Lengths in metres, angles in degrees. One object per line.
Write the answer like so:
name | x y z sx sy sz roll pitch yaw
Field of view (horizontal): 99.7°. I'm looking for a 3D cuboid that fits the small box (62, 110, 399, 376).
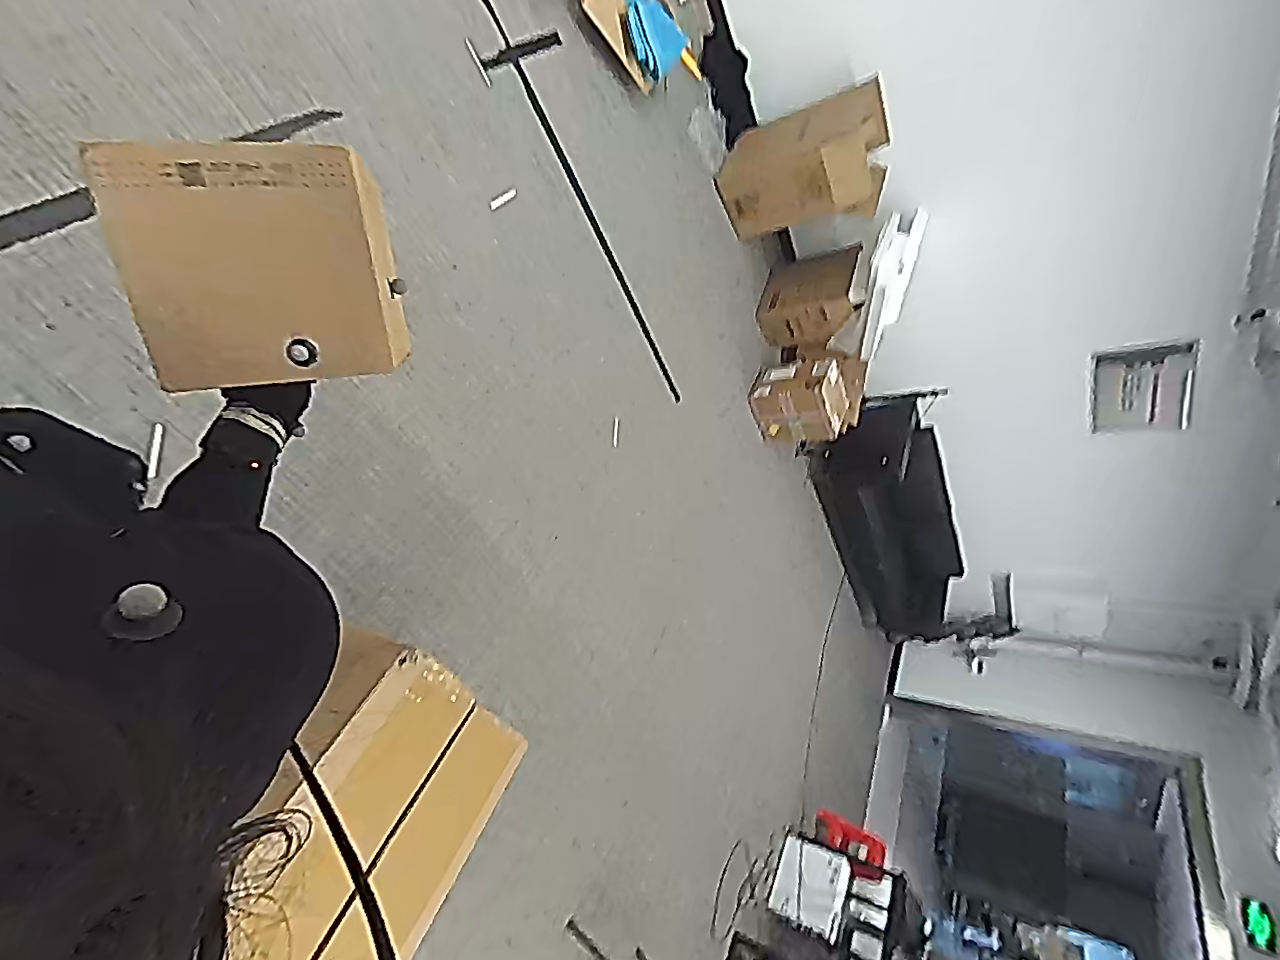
small box | -0.314 -0.193 0.463 0.168 0.179 0.176 -9 113 -16
